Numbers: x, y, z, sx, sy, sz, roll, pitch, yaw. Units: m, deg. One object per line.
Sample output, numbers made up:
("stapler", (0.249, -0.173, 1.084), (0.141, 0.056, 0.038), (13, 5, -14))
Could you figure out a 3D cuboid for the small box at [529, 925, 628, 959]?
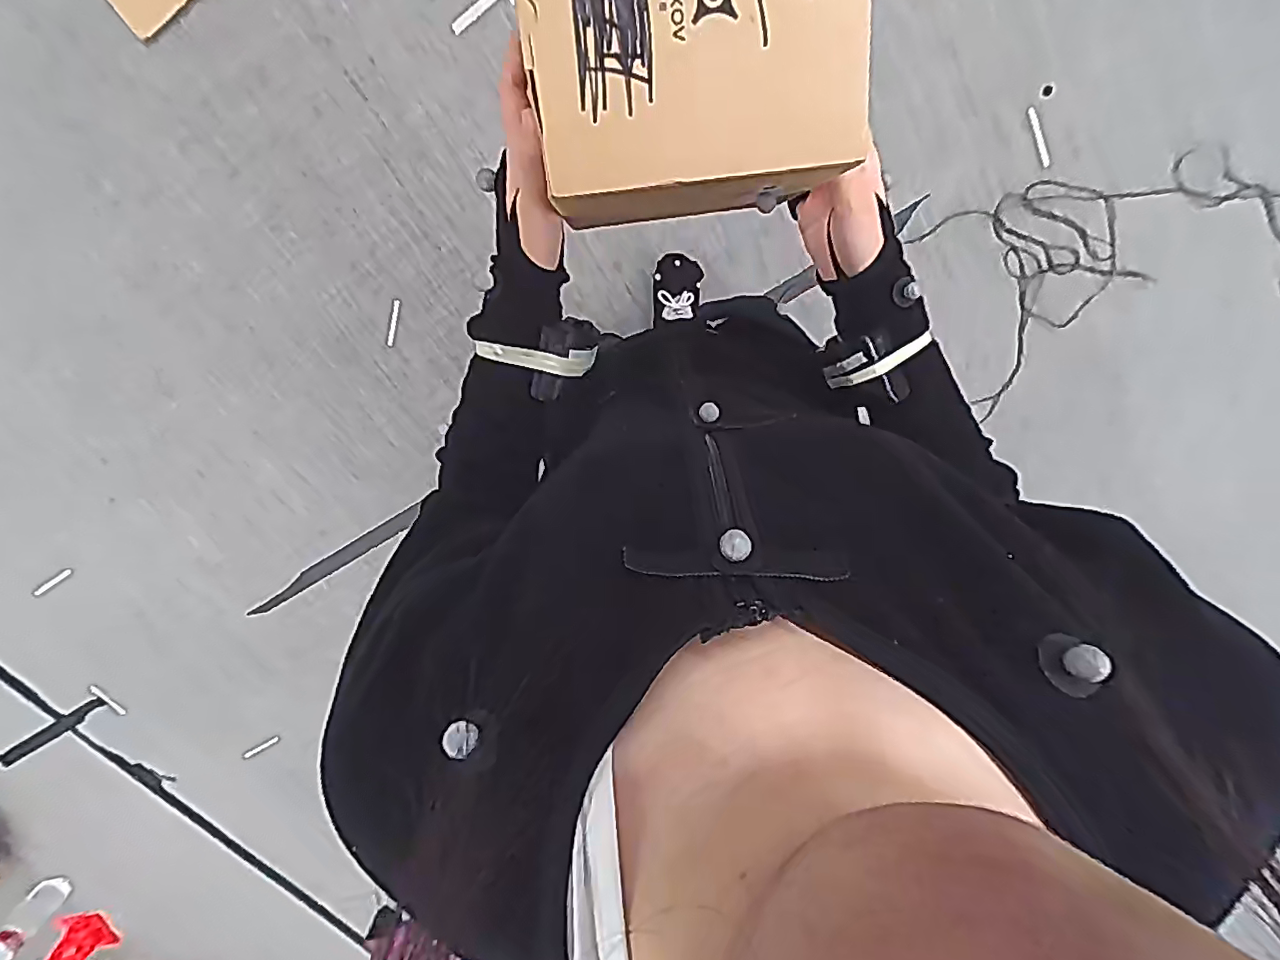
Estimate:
("small box", (-0.118, 1.027, 1.057), (0.168, 0.176, 0.179), (-28, 108, 8))
